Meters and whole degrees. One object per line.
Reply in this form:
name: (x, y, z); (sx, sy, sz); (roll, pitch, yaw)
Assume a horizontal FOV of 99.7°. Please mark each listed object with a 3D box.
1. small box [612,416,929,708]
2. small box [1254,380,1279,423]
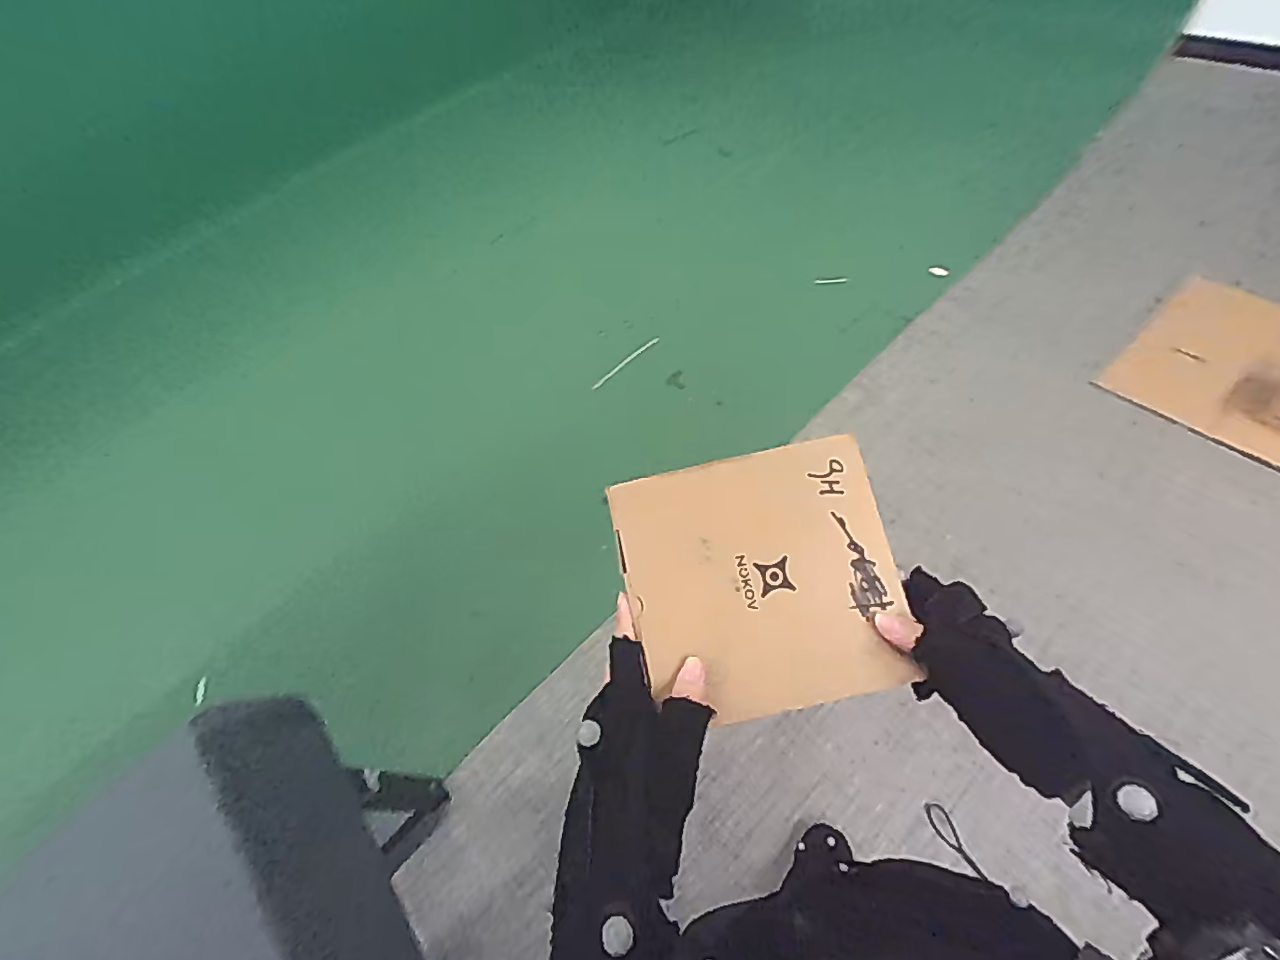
small box: (0.087, 0.071, 0.440); (0.179, 0.176, 0.168); (-15, 76, -1)
small box: (1.740, -0.227, 1.367); (0.179, 0.176, 0.168); (-35, 58, -13)
